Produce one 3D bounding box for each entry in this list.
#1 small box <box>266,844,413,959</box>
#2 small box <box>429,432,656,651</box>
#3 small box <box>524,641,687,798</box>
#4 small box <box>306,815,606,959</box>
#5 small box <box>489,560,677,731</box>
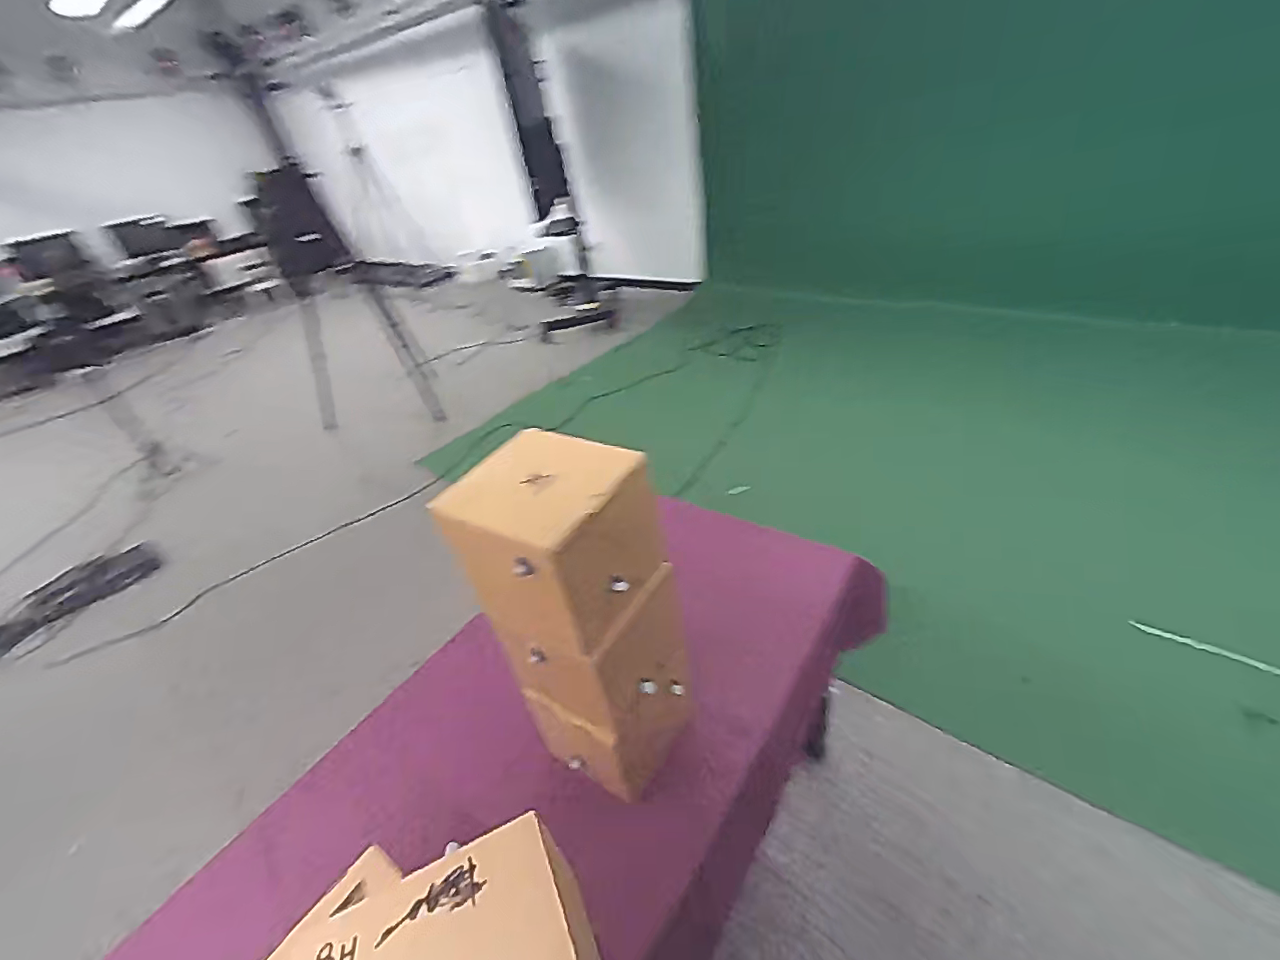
[{"bbox_3d":[-0.270,0.546,0.572,0.179,0.176,0.168,18,44,33],"label":"small box"},{"bbox_3d":[-0.101,0.067,0.628,0.179,0.176,0.168,14,43,29],"label":"small box"},{"bbox_3d":[-0.041,0.327,0.814,0.168,0.176,0.179,15,43,33],"label":"small box"},{"bbox_3d":[-0.103,0.376,0.367,0.168,0.176,0.179,-19,44,-15],"label":"small box"},{"bbox_3d":[-0.069,0.196,0.721,0.179,0.176,0.168,16,44,31],"label":"small box"}]
